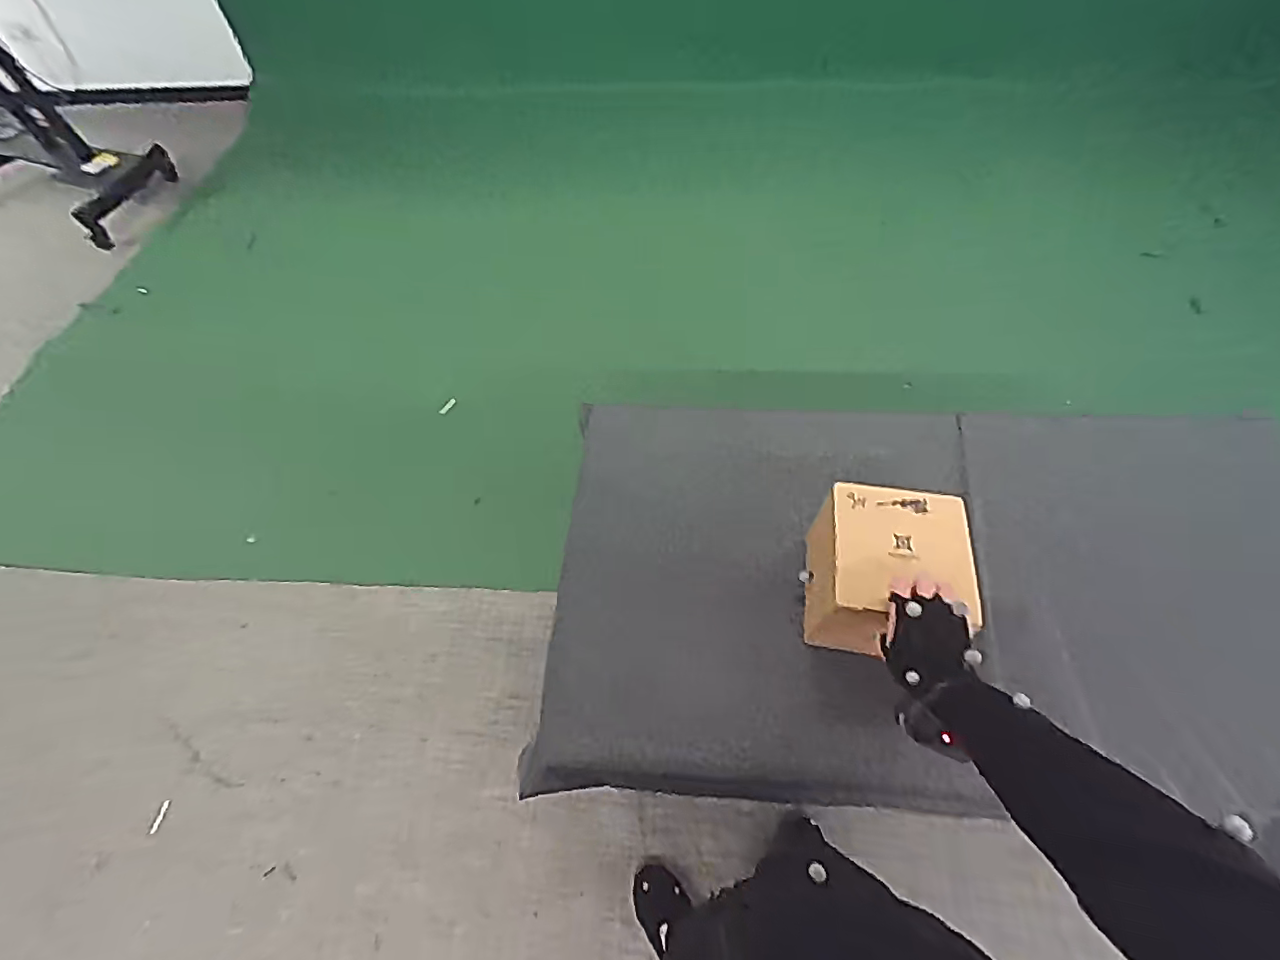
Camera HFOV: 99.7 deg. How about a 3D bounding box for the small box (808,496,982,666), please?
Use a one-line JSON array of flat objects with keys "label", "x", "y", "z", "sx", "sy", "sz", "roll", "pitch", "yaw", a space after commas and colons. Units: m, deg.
[{"label": "small box", "x": 0.331, "y": 0.143, "z": 0.741, "sx": 0.168, "sy": 0.176, "sz": 0.179, "roll": 4, "pitch": 57, "yaw": 7}]
